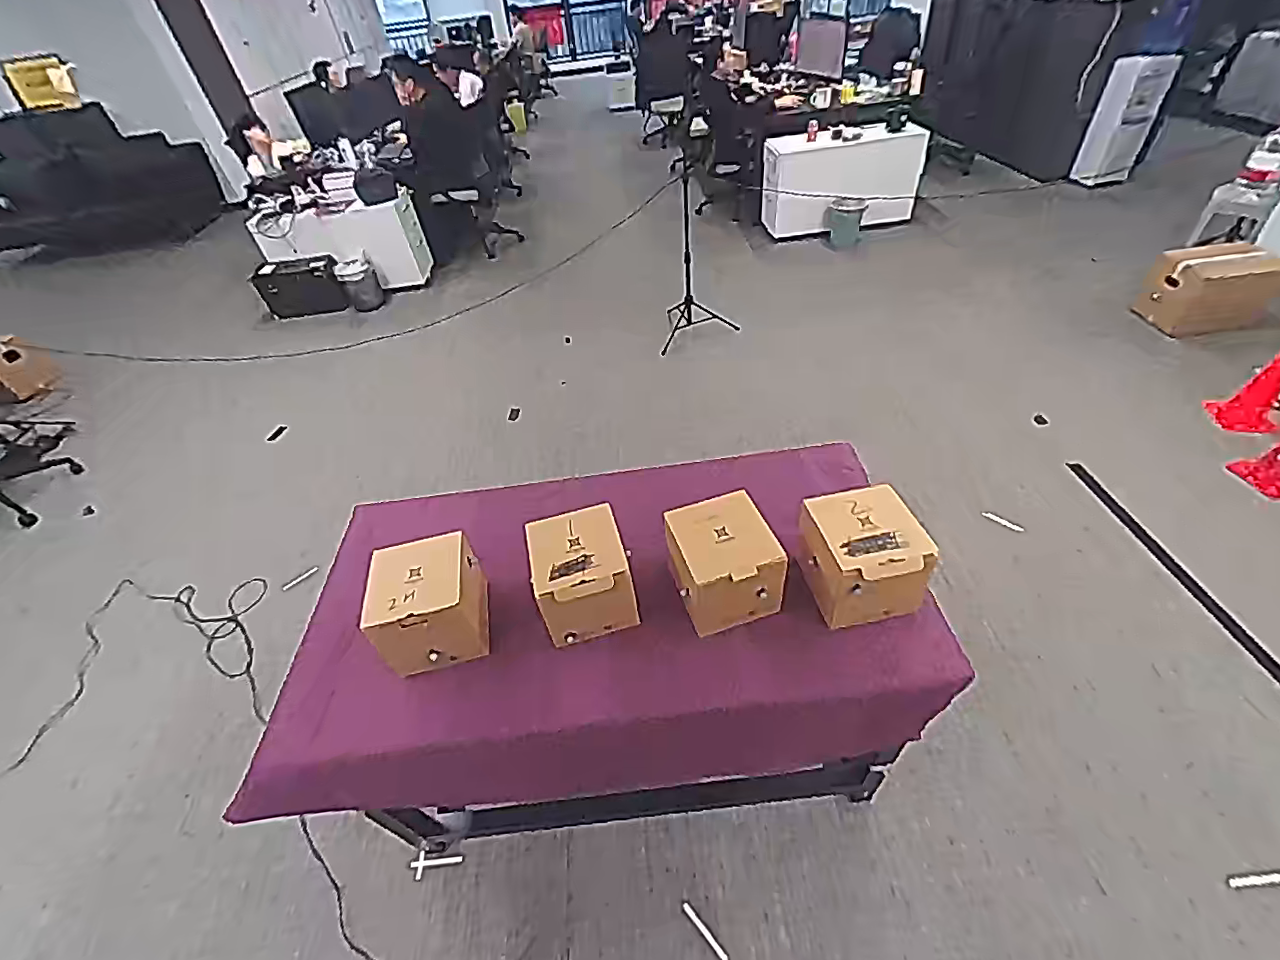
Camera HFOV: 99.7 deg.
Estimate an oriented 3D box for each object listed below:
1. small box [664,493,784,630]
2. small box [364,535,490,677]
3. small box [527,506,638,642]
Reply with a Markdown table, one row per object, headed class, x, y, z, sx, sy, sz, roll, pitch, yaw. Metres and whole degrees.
| class | x | y | z | sx | sy | sz | roll | pitch | yaw |
| --- | --- | --- | --- | --- | --- | --- | --- | --- | --- |
| small box | 0.154 | 0.159 | 1.012 | 0.168 | 0.176 | 0.179 | -16 | 43 | -8 |
| small box | -0.385 | 0.236 | 1.010 | 0.168 | 0.176 | 0.179 | -13 | 44 | -5 |
| small box | -0.107 | 0.184 | 1.023 | 0.168 | 0.176 | 0.179 | -15 | 43 | -7 |
